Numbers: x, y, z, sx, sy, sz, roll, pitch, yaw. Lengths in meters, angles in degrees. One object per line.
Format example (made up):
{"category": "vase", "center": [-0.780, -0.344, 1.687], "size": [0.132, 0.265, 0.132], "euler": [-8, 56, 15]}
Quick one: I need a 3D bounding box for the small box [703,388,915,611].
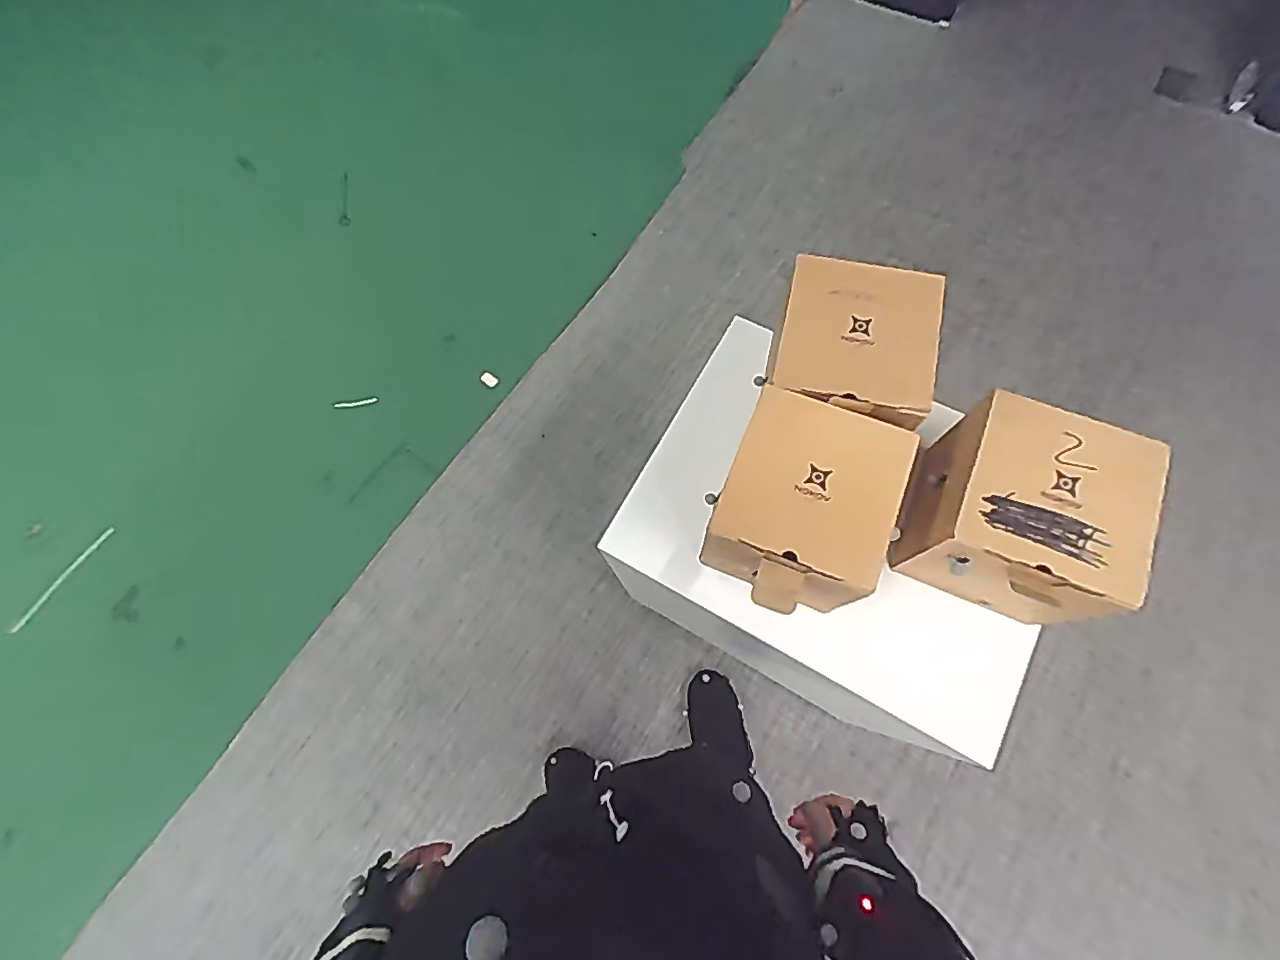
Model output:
{"category": "small box", "center": [0.175, 0.031, 0.608], "size": [0.168, 0.176, 0.179], "euler": [20, 73, 10]}
